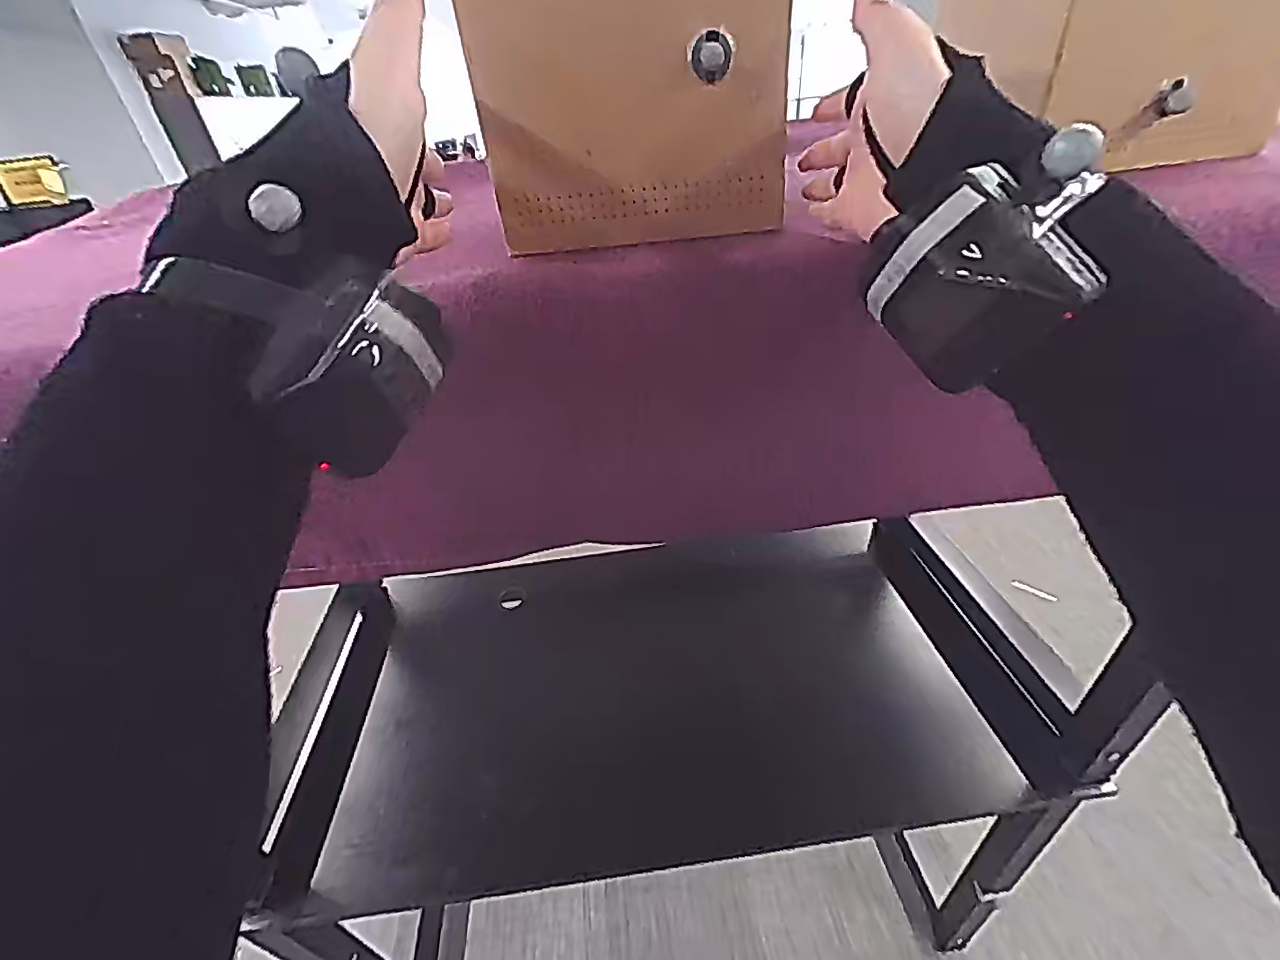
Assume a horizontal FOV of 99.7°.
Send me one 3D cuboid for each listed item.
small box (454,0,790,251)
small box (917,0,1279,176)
[{"bbox_3d":[-0.005,-0.262,0.356,0.179,0.176,0.168,-5,34,3],"label":"small box"},{"bbox_3d":[0.339,-0.335,0.399,0.179,0.176,0.168,-7,34,-1],"label":"small box"}]
